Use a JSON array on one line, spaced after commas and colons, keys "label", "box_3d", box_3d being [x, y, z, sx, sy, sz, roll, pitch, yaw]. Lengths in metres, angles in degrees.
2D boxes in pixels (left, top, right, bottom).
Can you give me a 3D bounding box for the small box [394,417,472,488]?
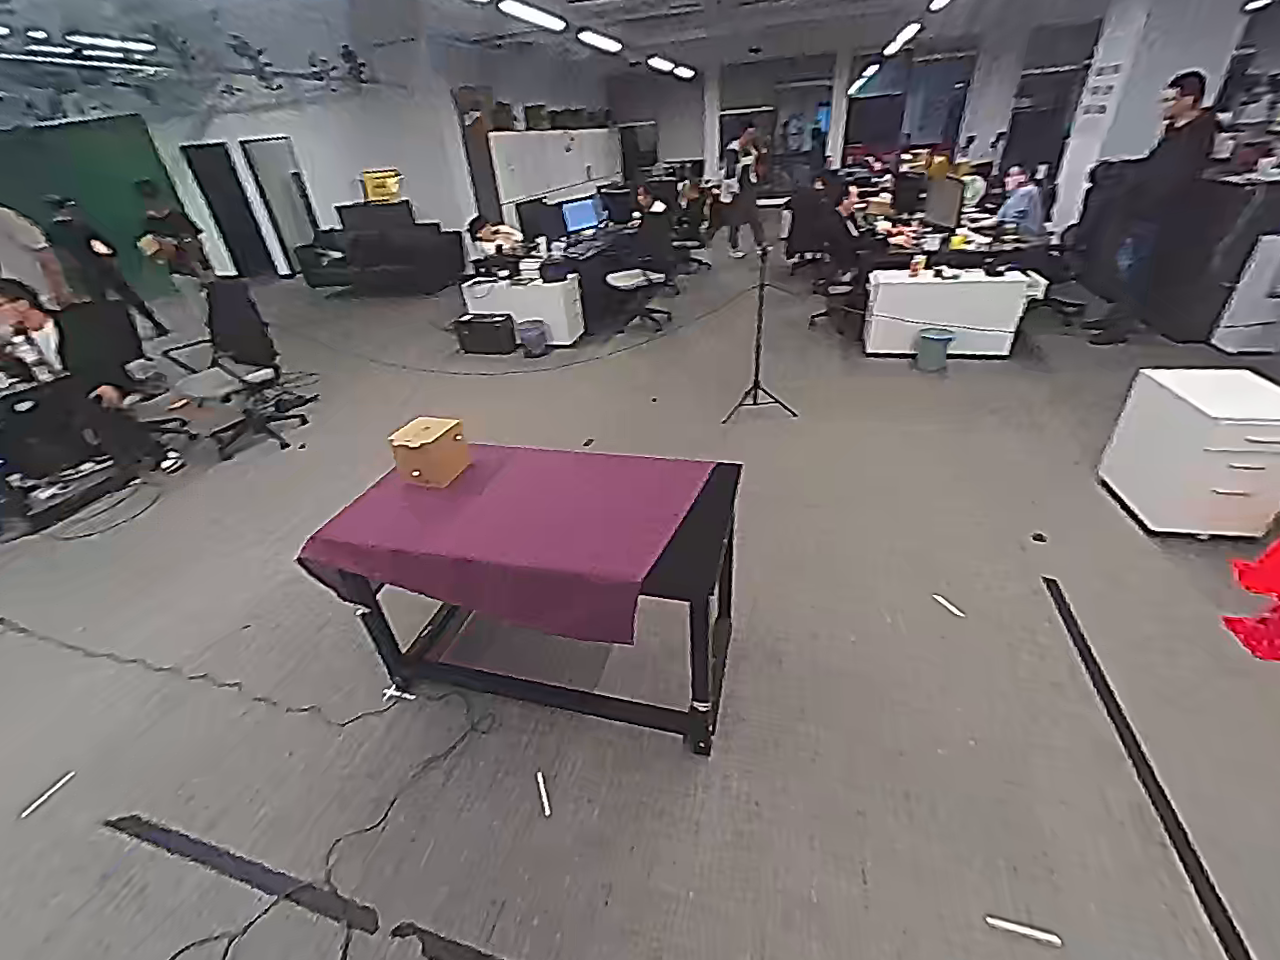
[{"label": "small box", "box_3d": [-0.688, -0.096, 1.828, 0.168, 0.176, 0.179, 7, 34, 17]}]
